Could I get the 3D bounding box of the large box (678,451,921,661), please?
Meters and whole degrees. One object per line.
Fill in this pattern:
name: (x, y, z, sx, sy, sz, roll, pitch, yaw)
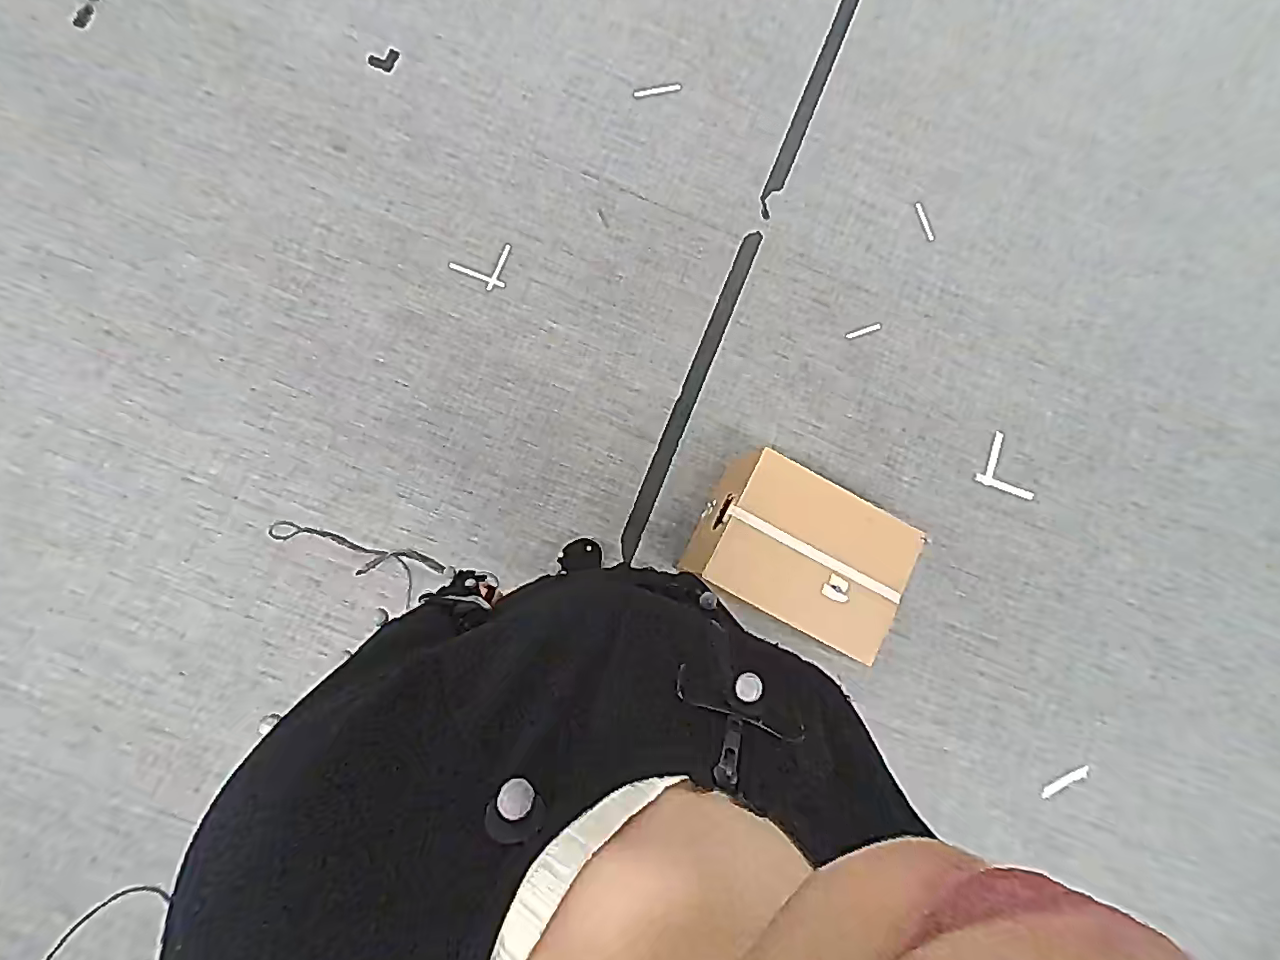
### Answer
large box: (0.352, 0.175, 1.286, 0.408, 0.320, 0.320, 28, 82, -3)
